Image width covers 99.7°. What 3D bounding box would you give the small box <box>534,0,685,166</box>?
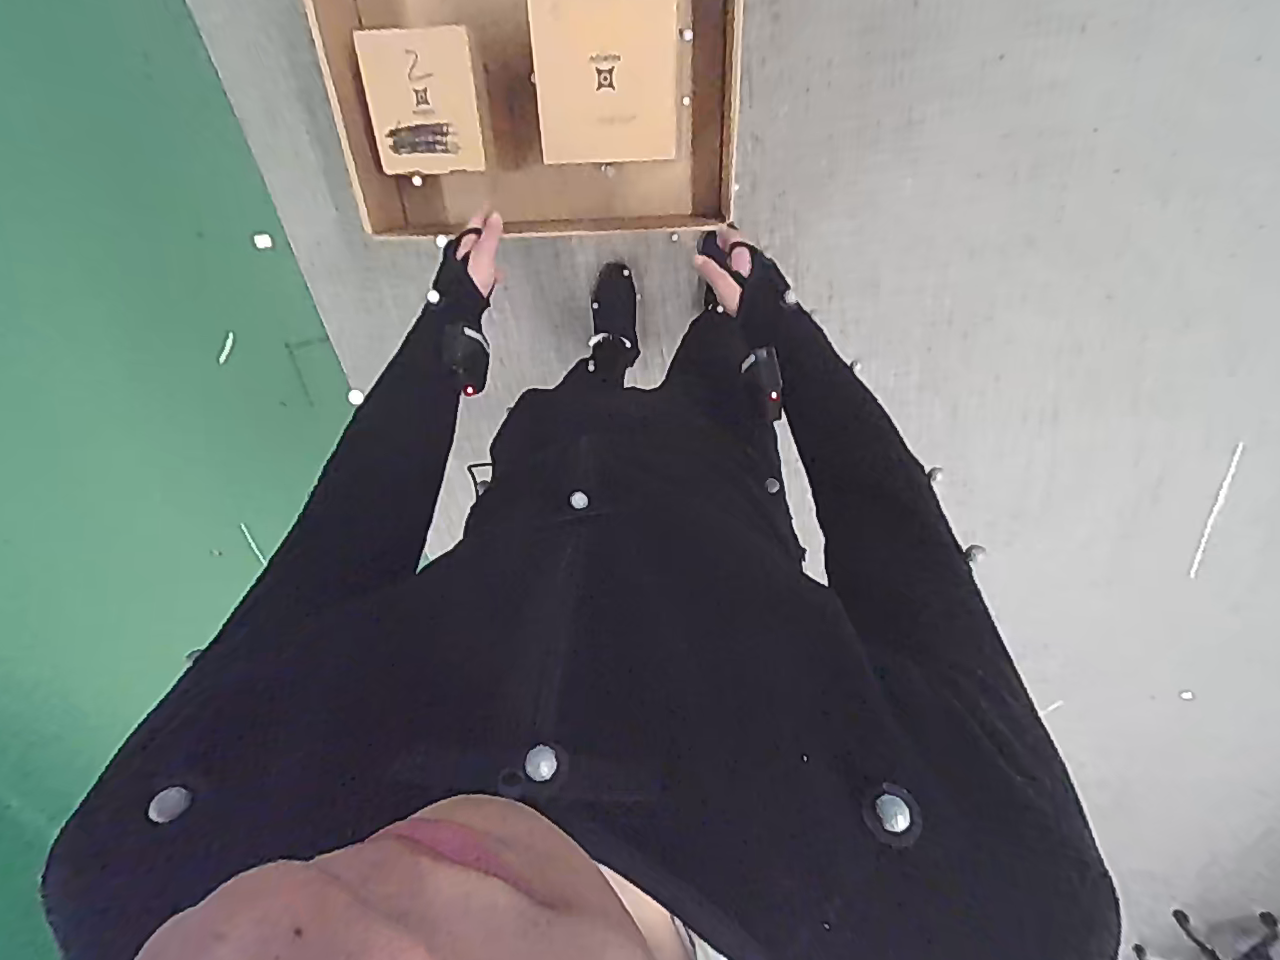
[{"bbox_3d":[-0.029,-0.502,0.684,0.168,0.176,0.179,2,120,5],"label":"small box"}]
